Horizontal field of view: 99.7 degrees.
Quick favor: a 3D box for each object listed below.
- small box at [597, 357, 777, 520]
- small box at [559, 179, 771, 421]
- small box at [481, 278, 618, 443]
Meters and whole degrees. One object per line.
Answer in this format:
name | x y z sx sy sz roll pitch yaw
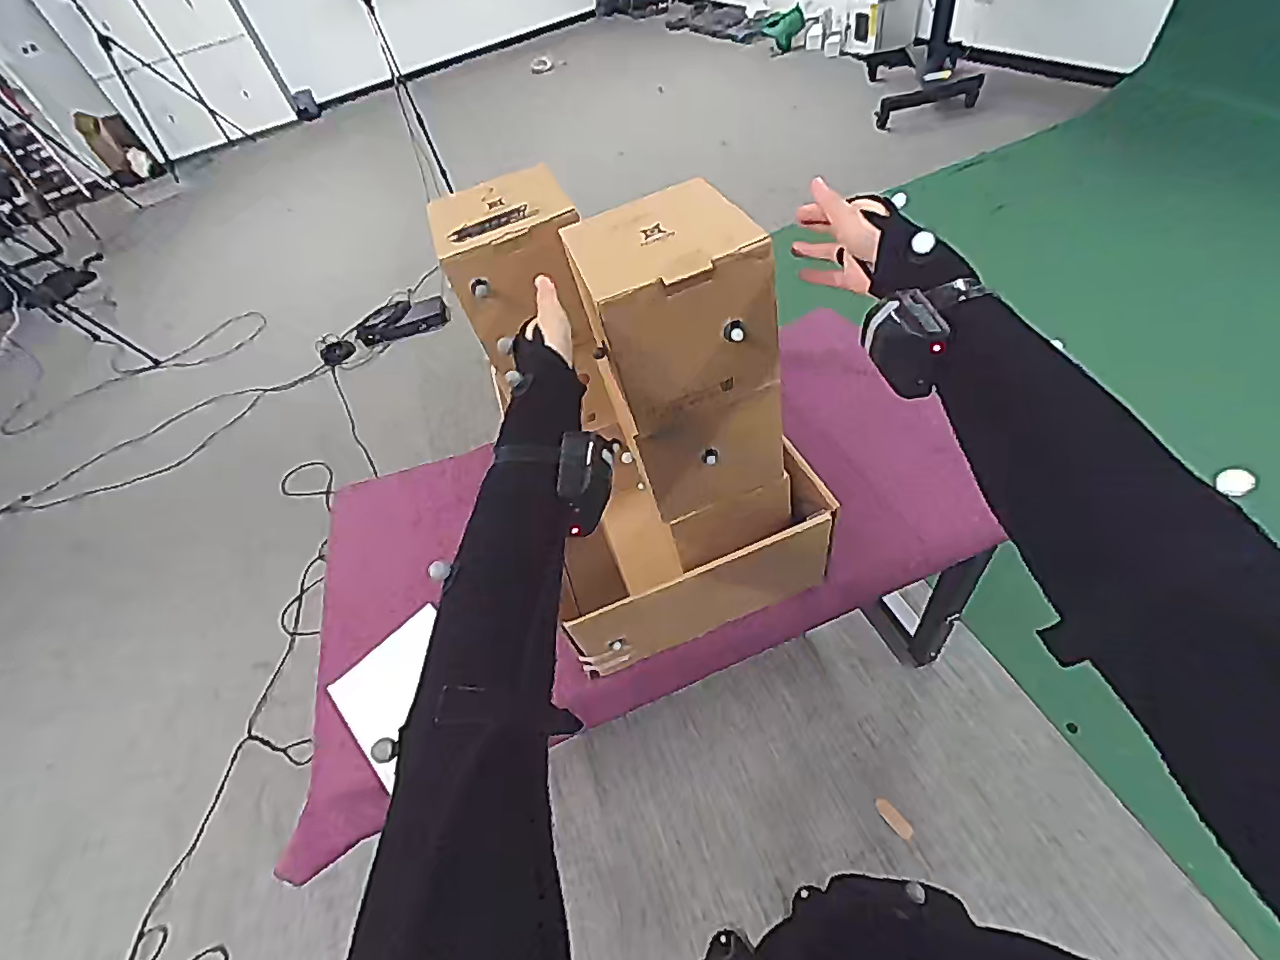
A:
small box | 0.065 -0.080 0.701 0.179 0.176 0.168 -22 47 -1
small box | 0.030 -0.185 0.581 0.168 0.176 0.179 -21 46 -2
small box | -0.130 -0.179 0.848 0.168 0.176 0.179 -21 50 -3
